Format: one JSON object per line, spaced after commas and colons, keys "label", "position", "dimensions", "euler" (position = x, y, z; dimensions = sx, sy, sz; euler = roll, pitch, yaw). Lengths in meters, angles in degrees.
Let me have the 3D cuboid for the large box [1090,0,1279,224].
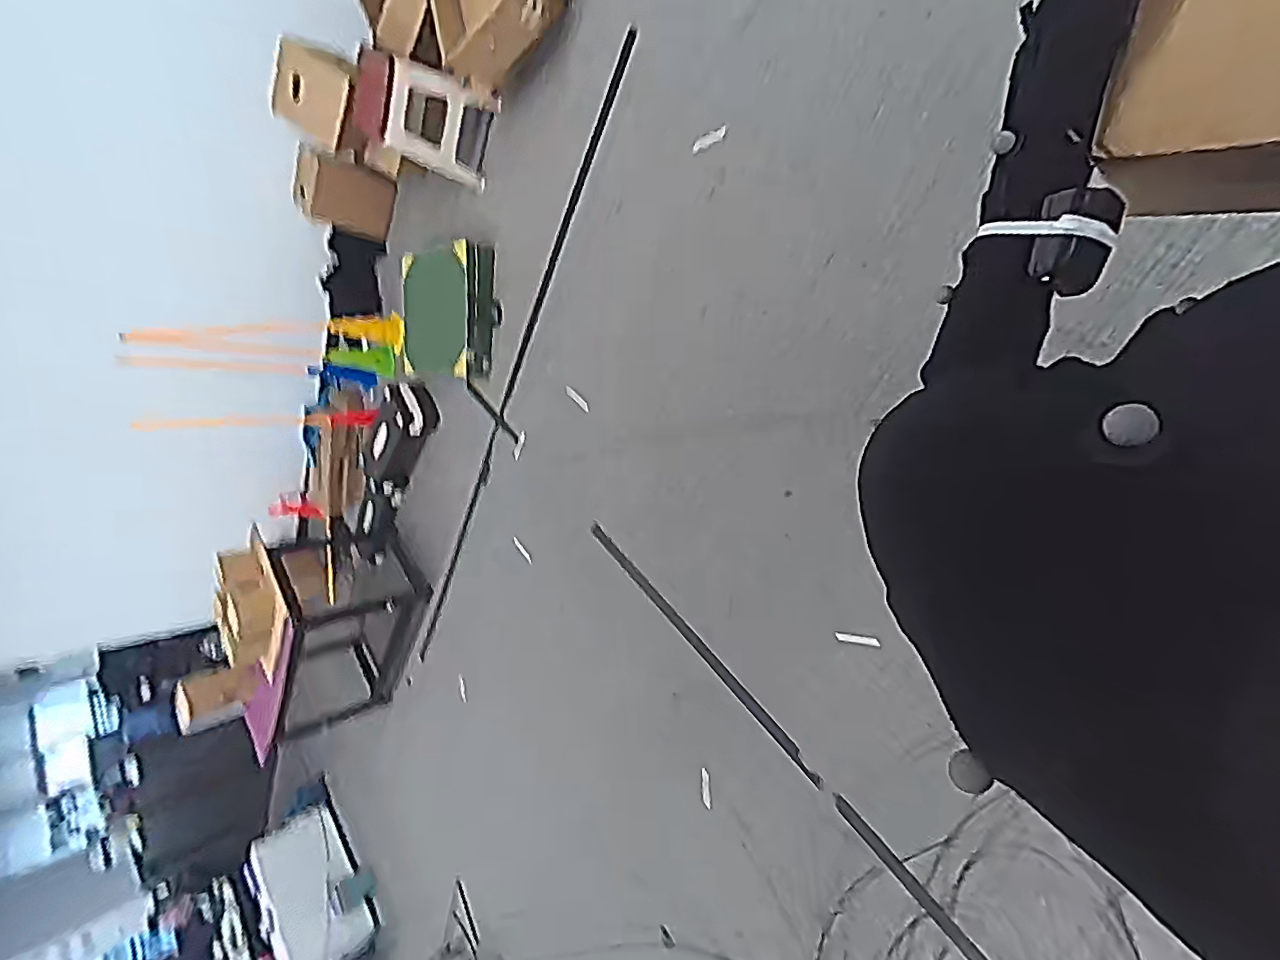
{"label": "large box", "position": [0.584, -0.363, 0.337], "dimensions": [0.408, 0.320, 0.320], "euler": [18, 114, 40]}
